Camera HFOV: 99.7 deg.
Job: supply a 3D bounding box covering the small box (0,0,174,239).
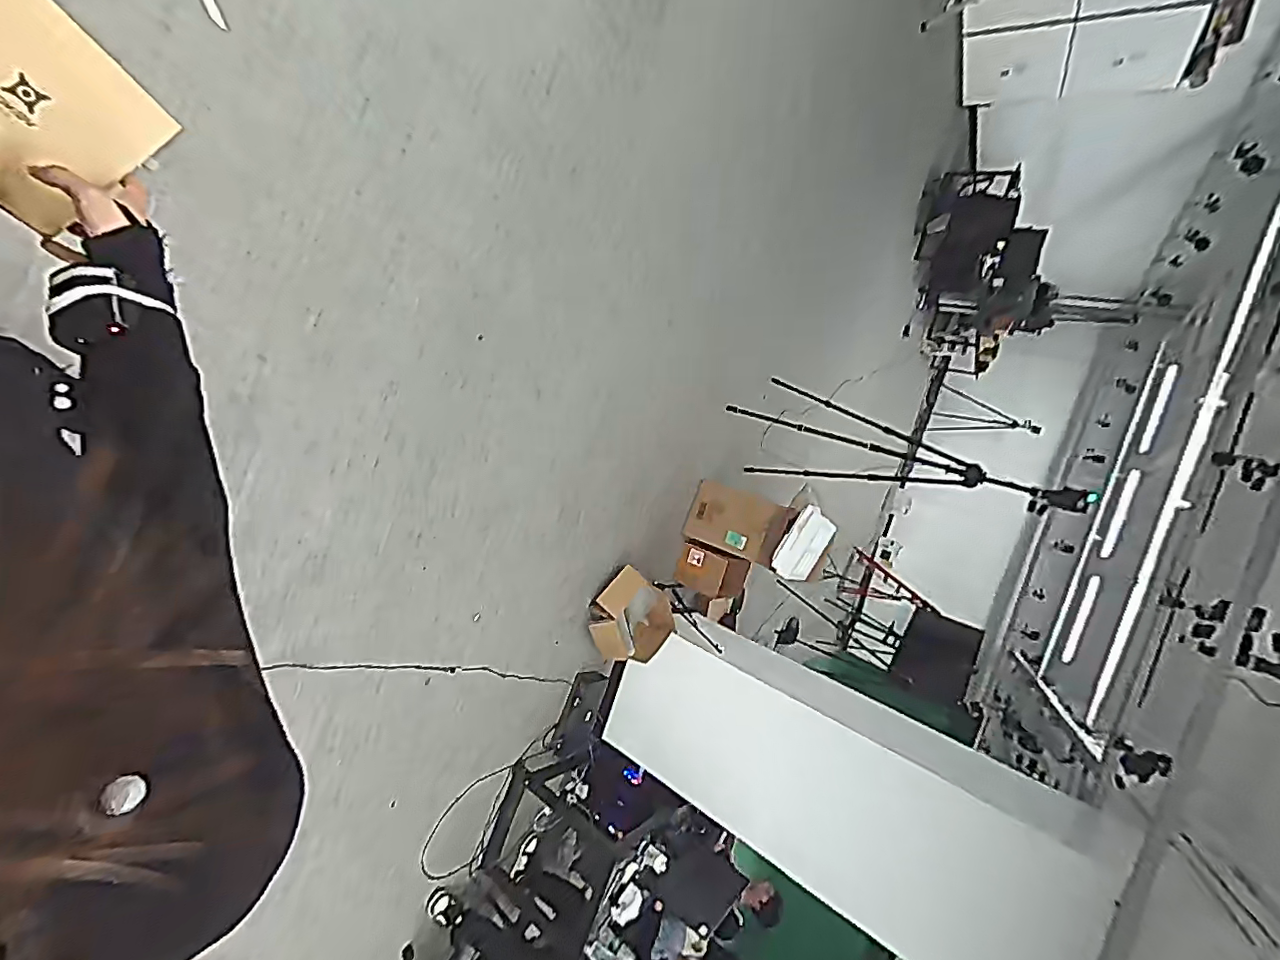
[{"bbox_3d":[-0.621,-0.369,0.521,0.179,0.176,0.168,-56,147,-14],"label":"small box"}]
